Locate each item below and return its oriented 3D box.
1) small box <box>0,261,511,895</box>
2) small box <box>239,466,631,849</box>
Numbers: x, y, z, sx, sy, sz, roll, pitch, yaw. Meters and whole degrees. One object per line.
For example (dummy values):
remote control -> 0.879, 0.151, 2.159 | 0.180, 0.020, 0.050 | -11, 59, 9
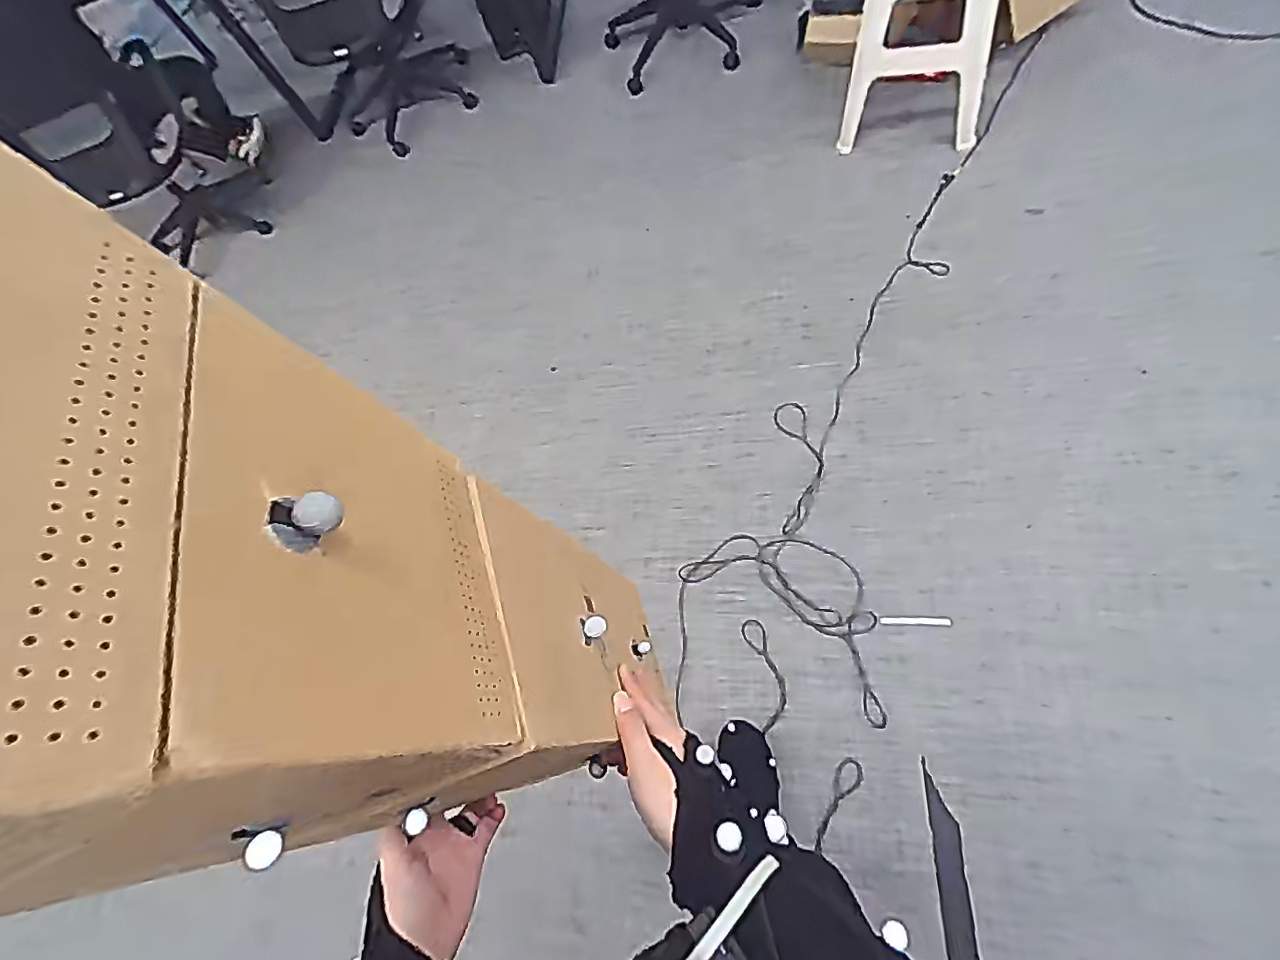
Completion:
small box -> -0.181, 0.053, 0.236 | 0.168, 0.176, 0.179 | -25, 62, 7
small box -> -0.128, 0.122, 0.374 | 0.179, 0.176, 0.168 | -24, 62, 7
